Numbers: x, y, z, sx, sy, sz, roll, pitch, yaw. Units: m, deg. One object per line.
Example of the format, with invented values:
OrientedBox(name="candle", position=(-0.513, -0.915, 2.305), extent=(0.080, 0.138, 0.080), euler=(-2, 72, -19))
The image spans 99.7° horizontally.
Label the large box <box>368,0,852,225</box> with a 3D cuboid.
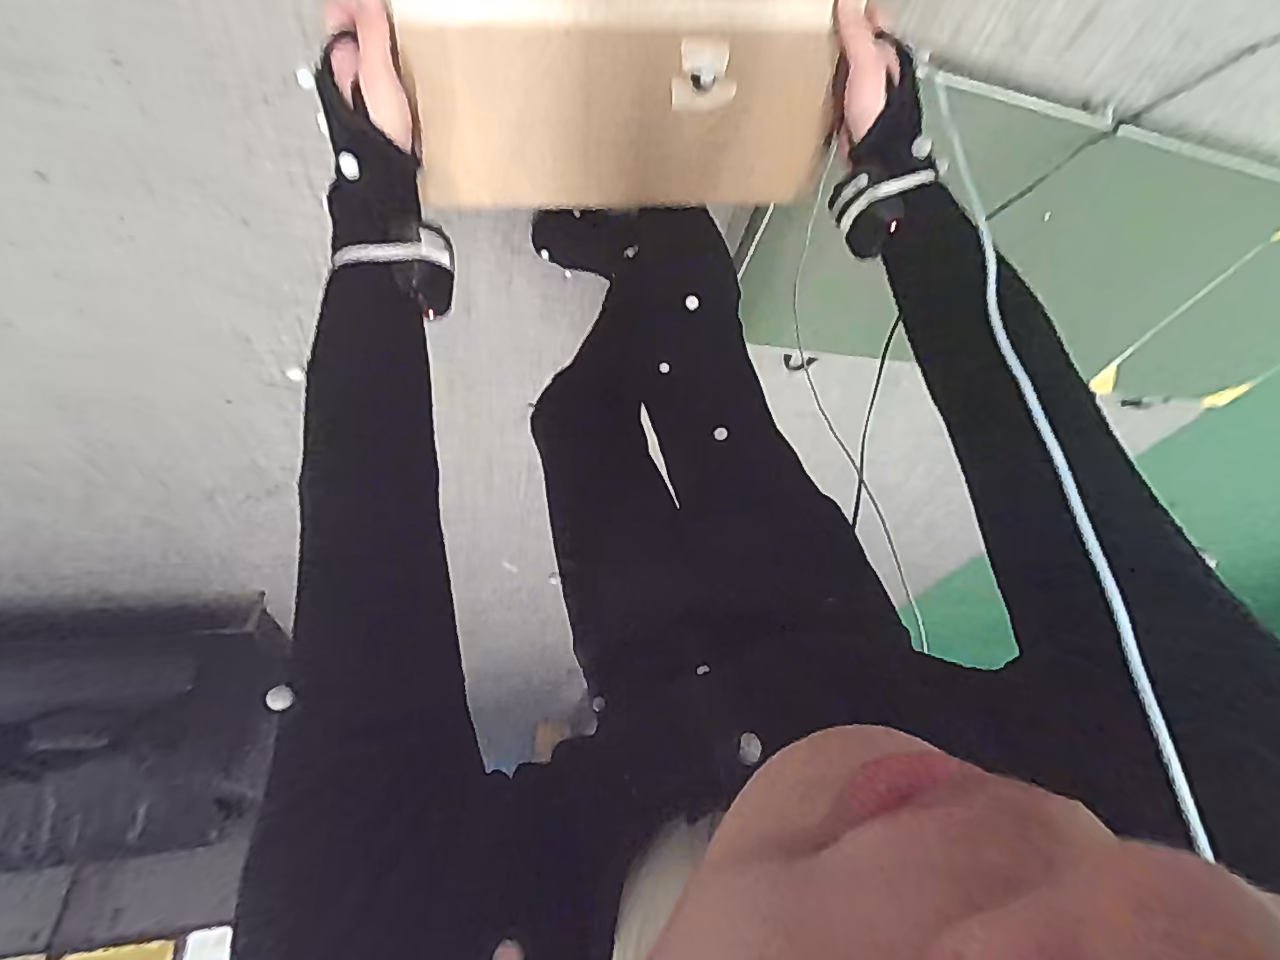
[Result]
OrientedBox(name="large box", position=(-0.039, -0.486, 0.550), extent=(0.408, 0.320, 0.320), euler=(-5, 138, -7))
